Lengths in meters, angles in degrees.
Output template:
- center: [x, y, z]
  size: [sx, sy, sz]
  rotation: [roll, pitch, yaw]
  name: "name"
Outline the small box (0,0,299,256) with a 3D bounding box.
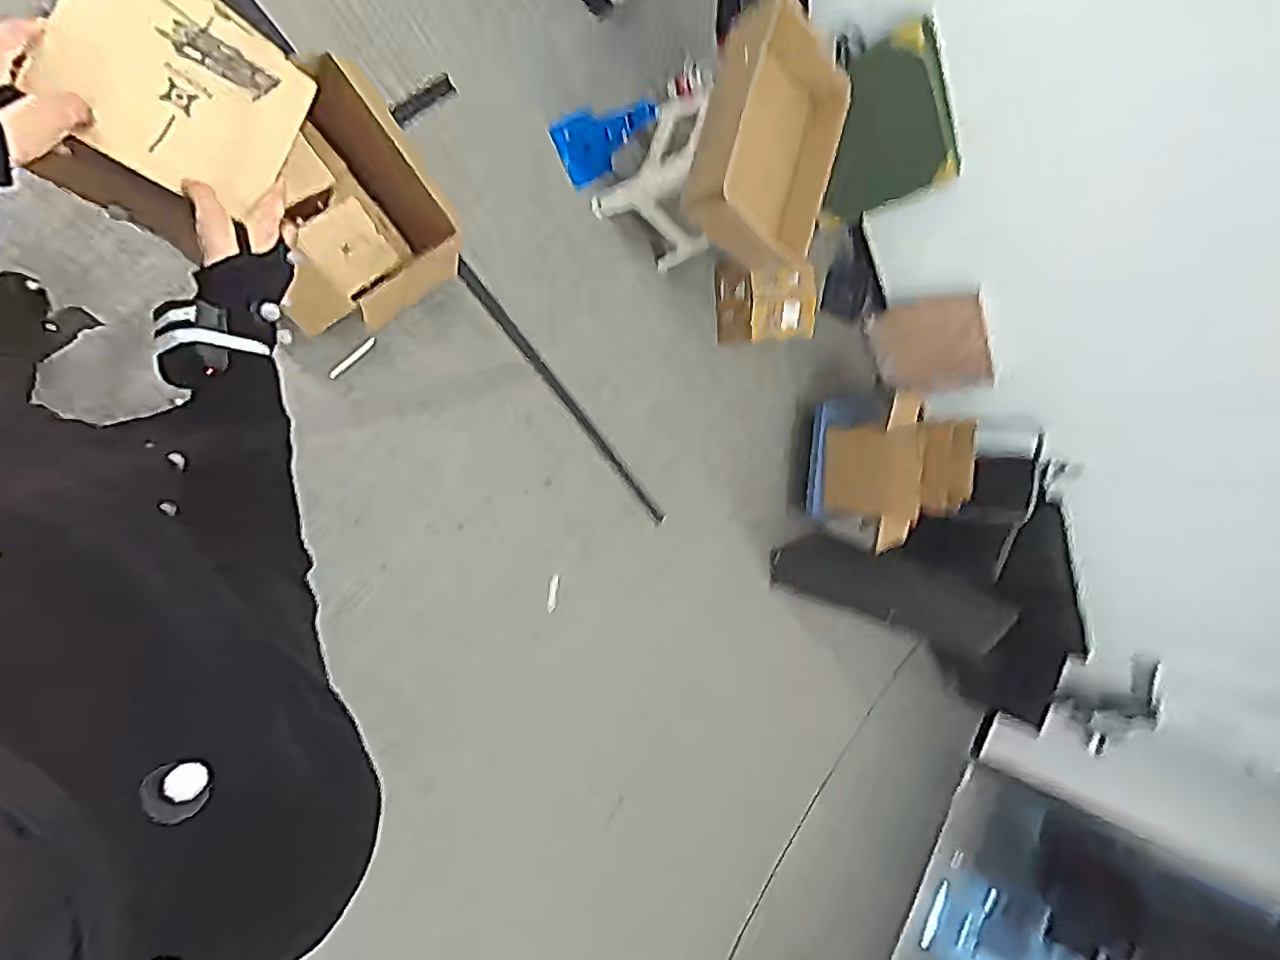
- center: [-0.477, -0.353, 0.531]
  size: [0.168, 0.176, 0.179]
  rotation: [24, 77, -47]
  name: "small box"
